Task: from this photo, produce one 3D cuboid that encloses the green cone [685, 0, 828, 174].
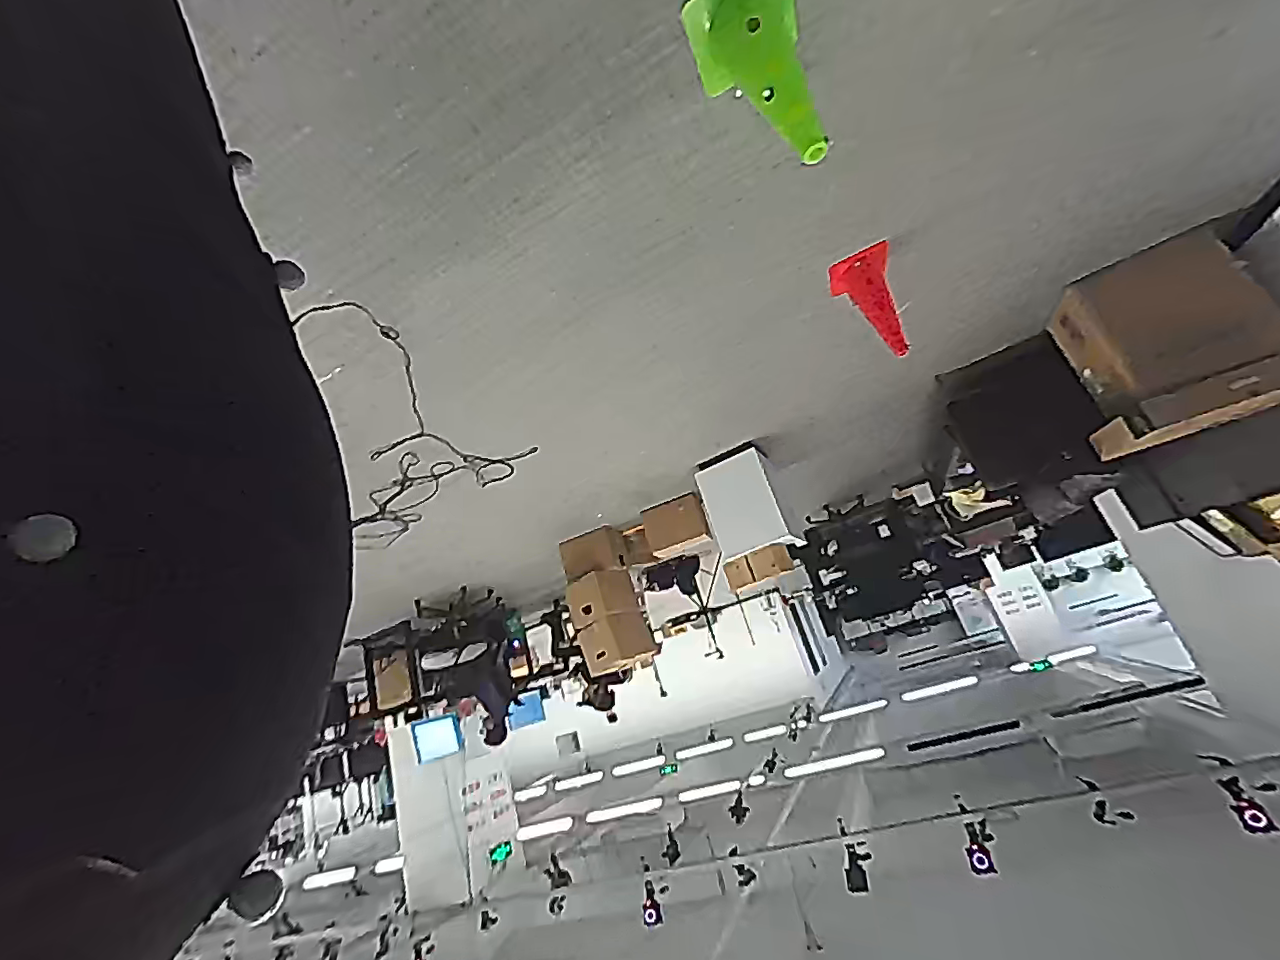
[{"bbox_3d":[0.244,-0.699,0.968,0.200,0.368,0.202,-23,161,18],"label":"green cone"}]
